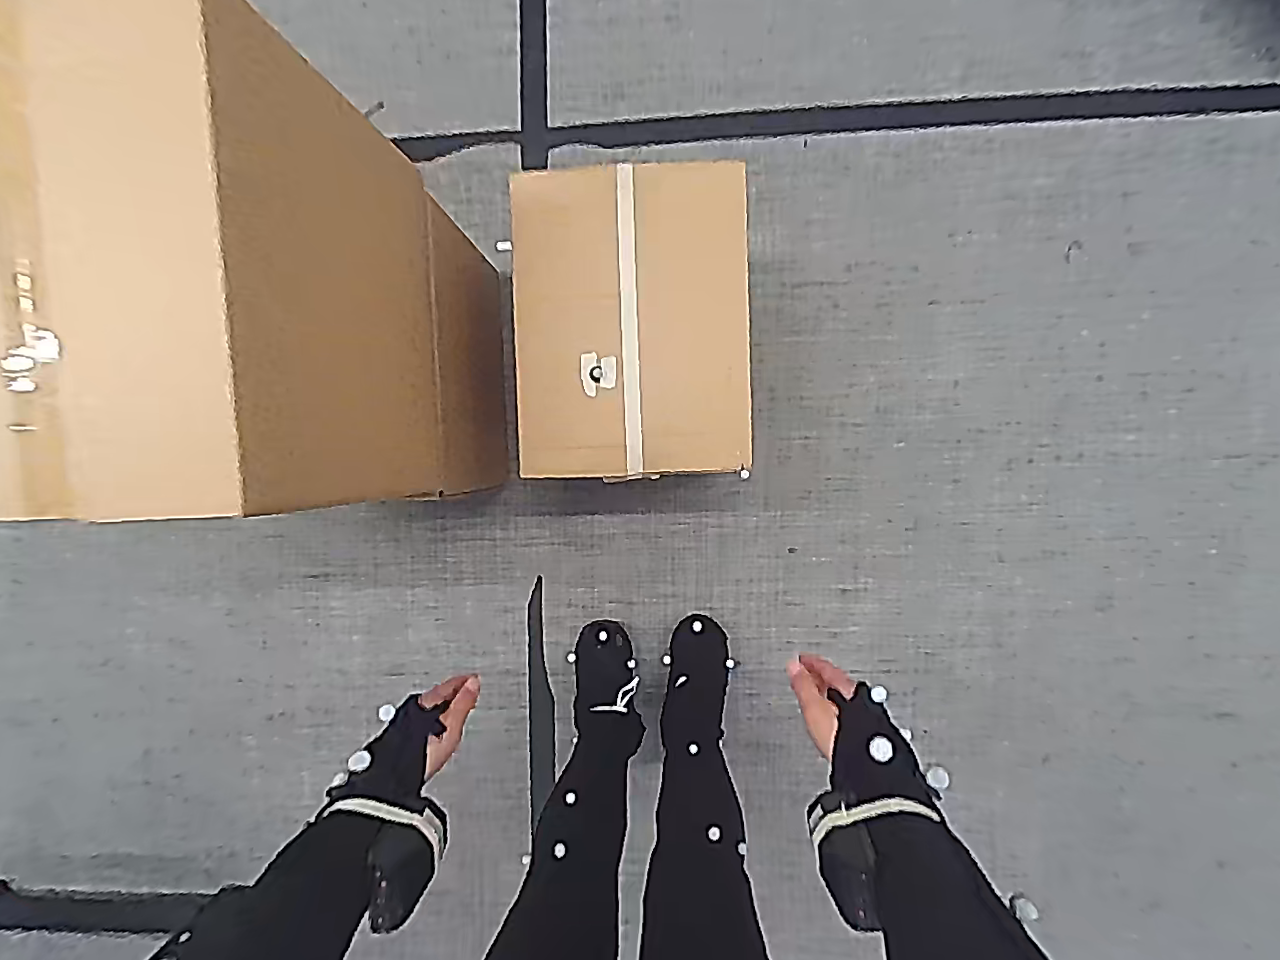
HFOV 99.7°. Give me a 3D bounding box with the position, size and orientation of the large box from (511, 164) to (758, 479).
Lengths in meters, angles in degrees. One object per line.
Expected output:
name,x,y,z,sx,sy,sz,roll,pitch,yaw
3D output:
large box,-0.002,-0.216,0.866,0.320,0.320,0.408,-3,93,3
